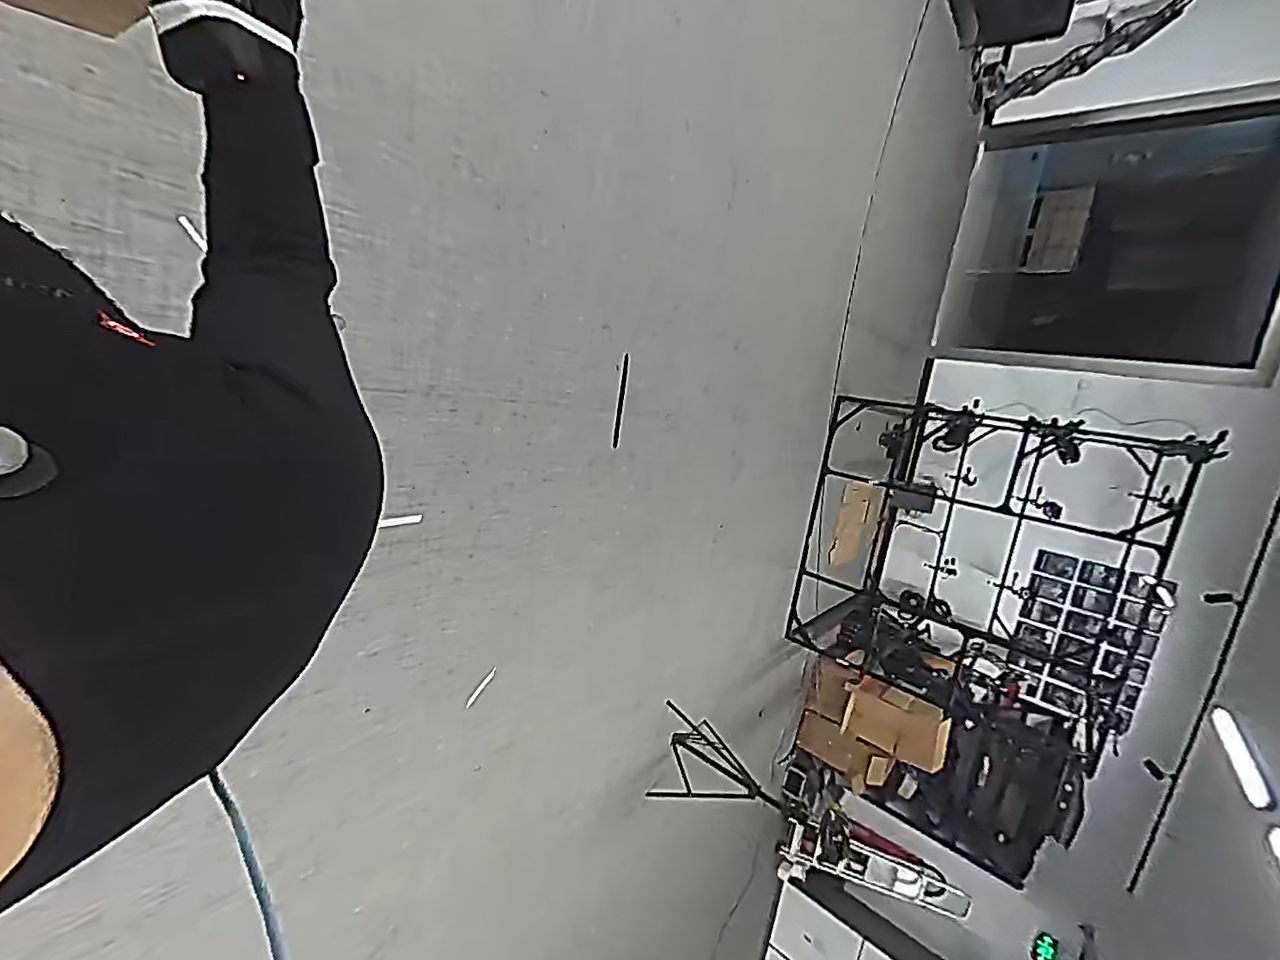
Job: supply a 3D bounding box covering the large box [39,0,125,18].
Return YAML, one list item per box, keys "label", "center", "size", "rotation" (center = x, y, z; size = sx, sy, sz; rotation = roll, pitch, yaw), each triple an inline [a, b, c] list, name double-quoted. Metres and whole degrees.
- label: "large box"
  center: [-0.523, -0.514, 0.256]
  size: [0.408, 0.320, 0.320]
  rotation: [-14, 122, -50]
